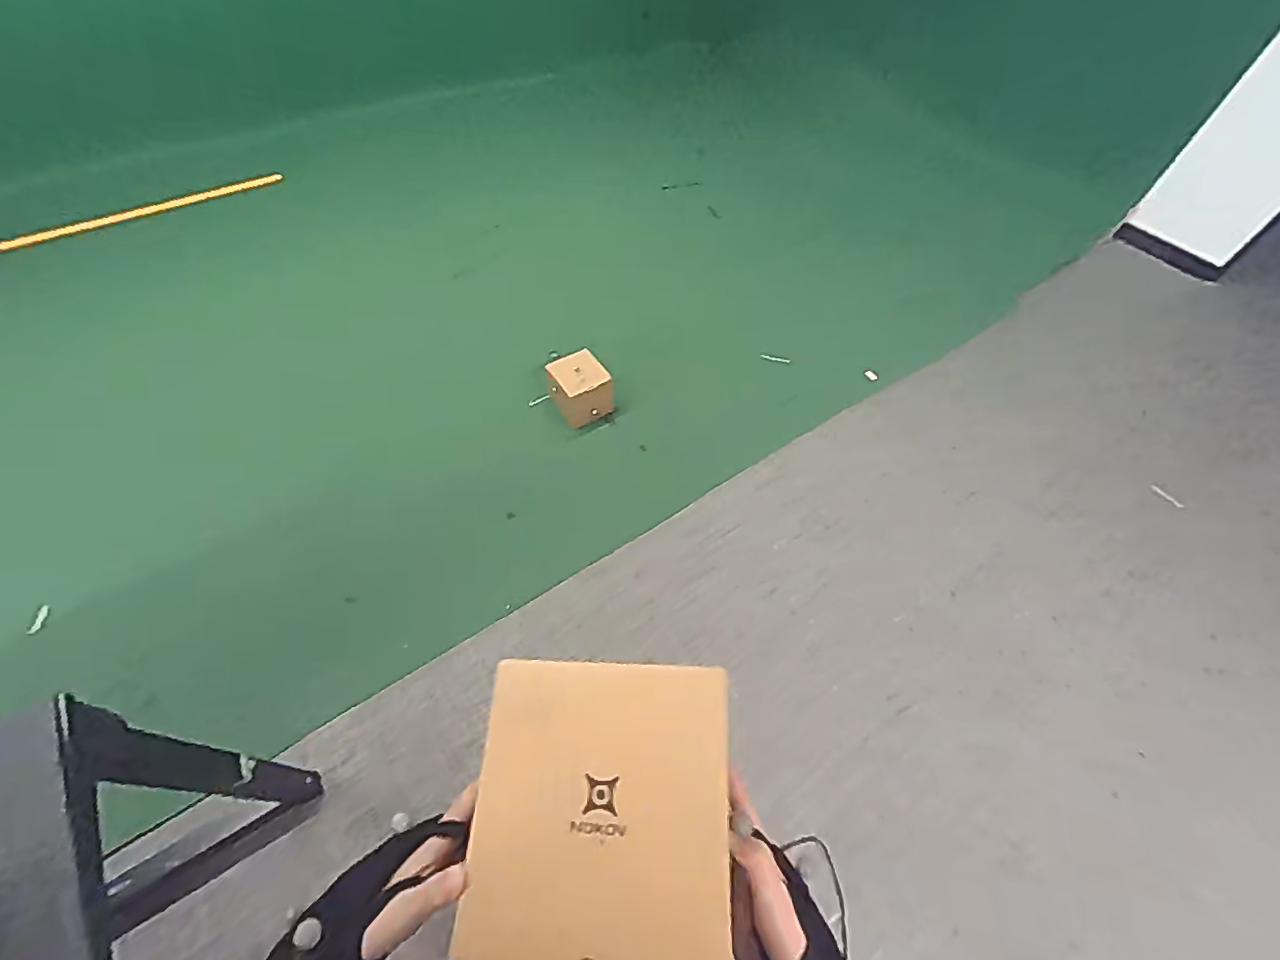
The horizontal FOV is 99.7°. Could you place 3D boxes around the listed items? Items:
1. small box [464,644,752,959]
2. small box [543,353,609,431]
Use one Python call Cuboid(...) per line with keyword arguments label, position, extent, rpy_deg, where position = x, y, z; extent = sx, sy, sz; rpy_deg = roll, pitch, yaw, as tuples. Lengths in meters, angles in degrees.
Cuboid(label="small box", position=(-0.008, 0.236, 0.410), extent=(0.168, 0.176, 0.179), rpy_deg=(3, 63, 6))
Cuboid(label="small box", position=(-0.223, -0.304, 1.878), extent=(0.168, 0.176, 0.179), rpy_deg=(-28, 62, -21))
